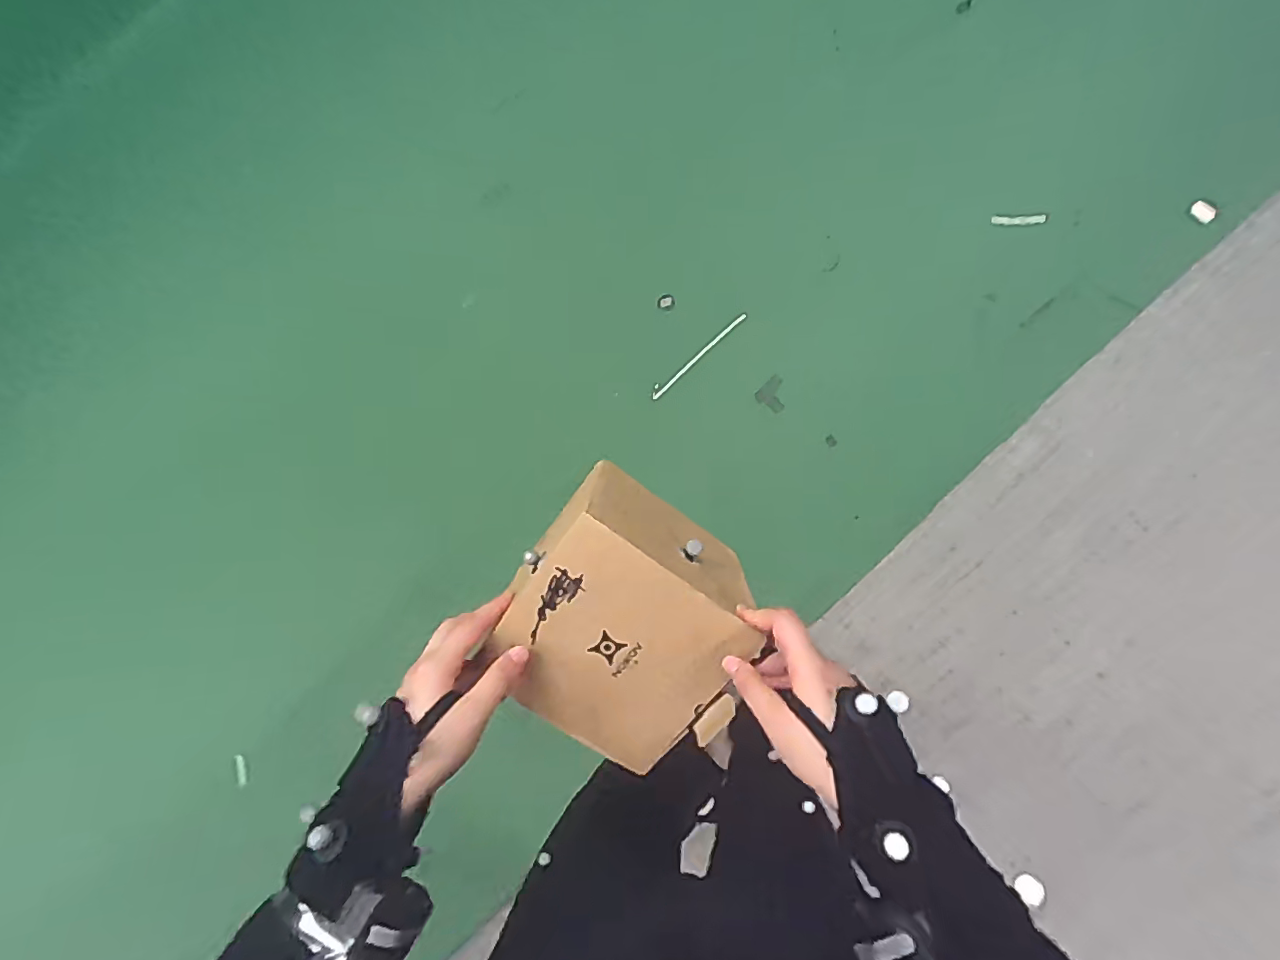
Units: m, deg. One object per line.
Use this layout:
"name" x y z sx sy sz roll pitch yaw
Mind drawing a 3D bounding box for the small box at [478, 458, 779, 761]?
"small box" -0.009 0.101 0.491 0.179 0.176 0.168 36 102 -10
